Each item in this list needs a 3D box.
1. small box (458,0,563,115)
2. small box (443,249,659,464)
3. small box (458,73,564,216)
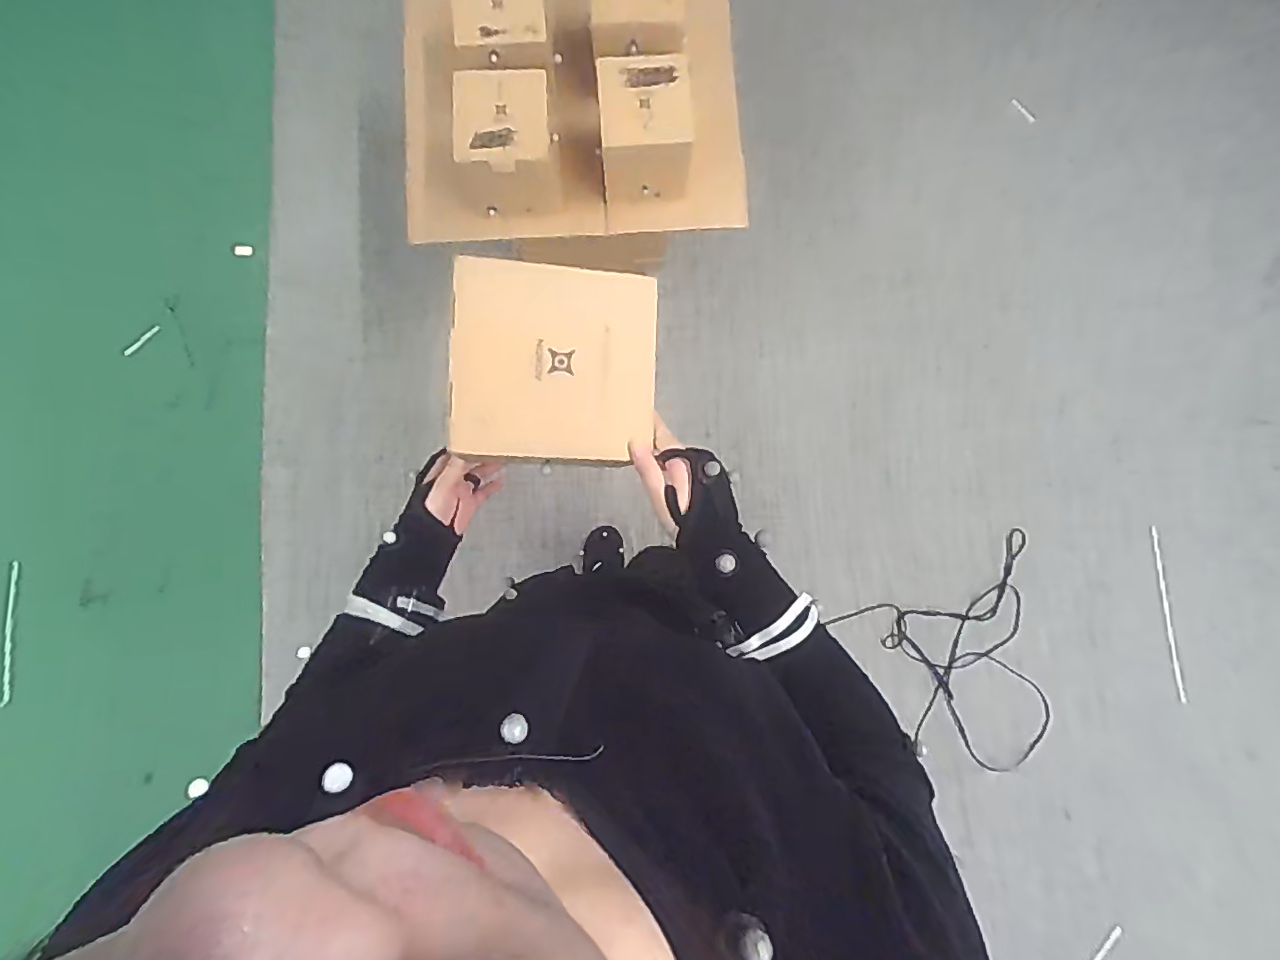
[{"bbox_3d":[-0.246,-0.847,1.051,0.168,0.176,0.179,-4,83,0],"label":"small box"},{"bbox_3d":[-0.087,-0.105,0.539,0.179,0.176,0.168,3,89,-11],"label":"small box"},{"bbox_3d":[-0.238,-0.625,1.029,0.168,0.176,0.179,-2,83,-1],"label":"small box"}]
